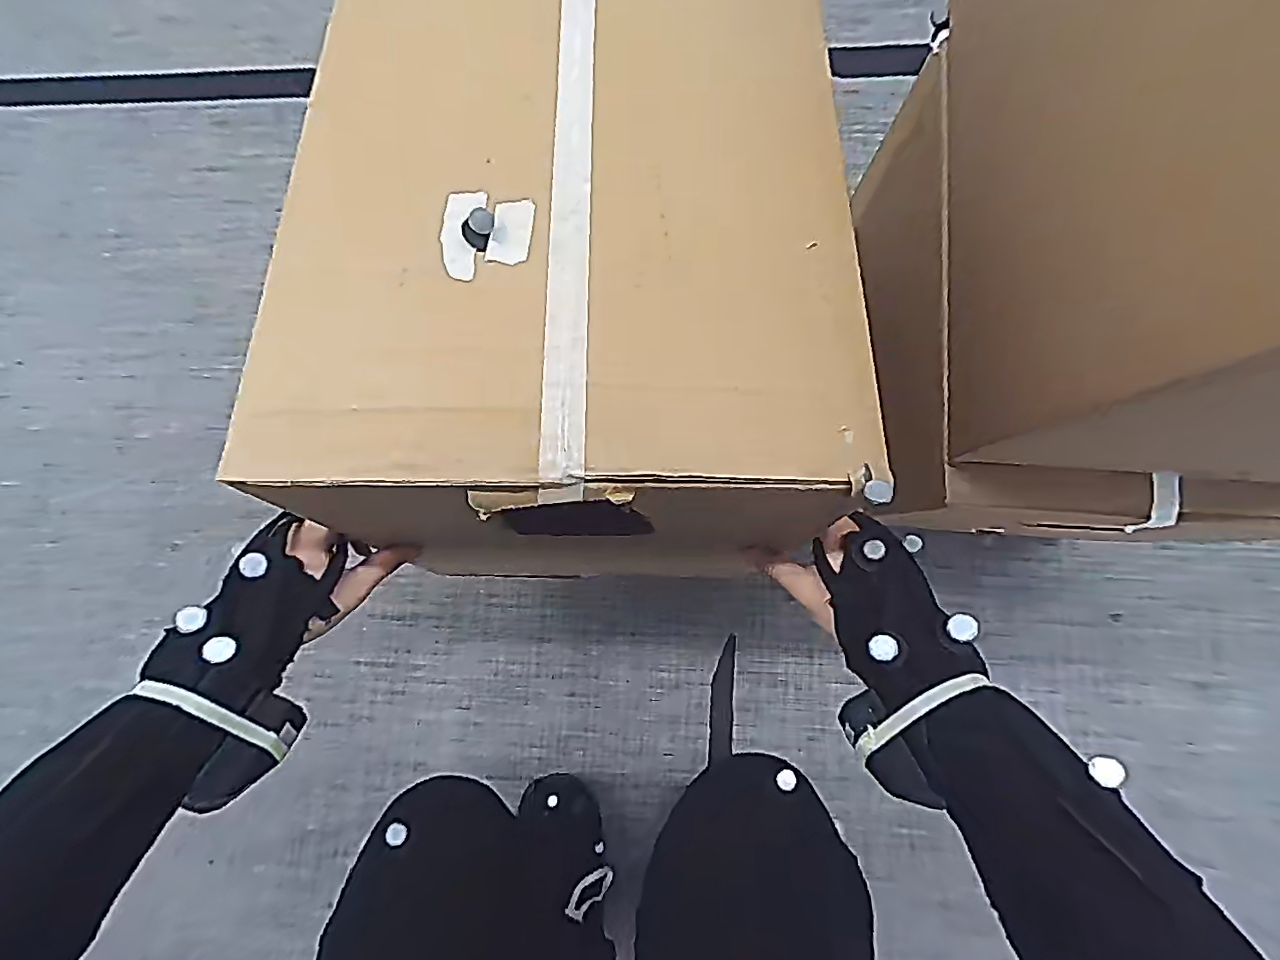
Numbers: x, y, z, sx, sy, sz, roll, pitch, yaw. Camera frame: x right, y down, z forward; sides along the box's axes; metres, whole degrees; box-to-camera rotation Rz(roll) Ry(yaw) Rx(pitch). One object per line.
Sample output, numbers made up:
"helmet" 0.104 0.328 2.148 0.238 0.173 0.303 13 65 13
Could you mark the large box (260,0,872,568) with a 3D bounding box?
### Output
"large box" -0.046 -0.146 0.467 0.320 0.320 0.408 -1 73 -2
